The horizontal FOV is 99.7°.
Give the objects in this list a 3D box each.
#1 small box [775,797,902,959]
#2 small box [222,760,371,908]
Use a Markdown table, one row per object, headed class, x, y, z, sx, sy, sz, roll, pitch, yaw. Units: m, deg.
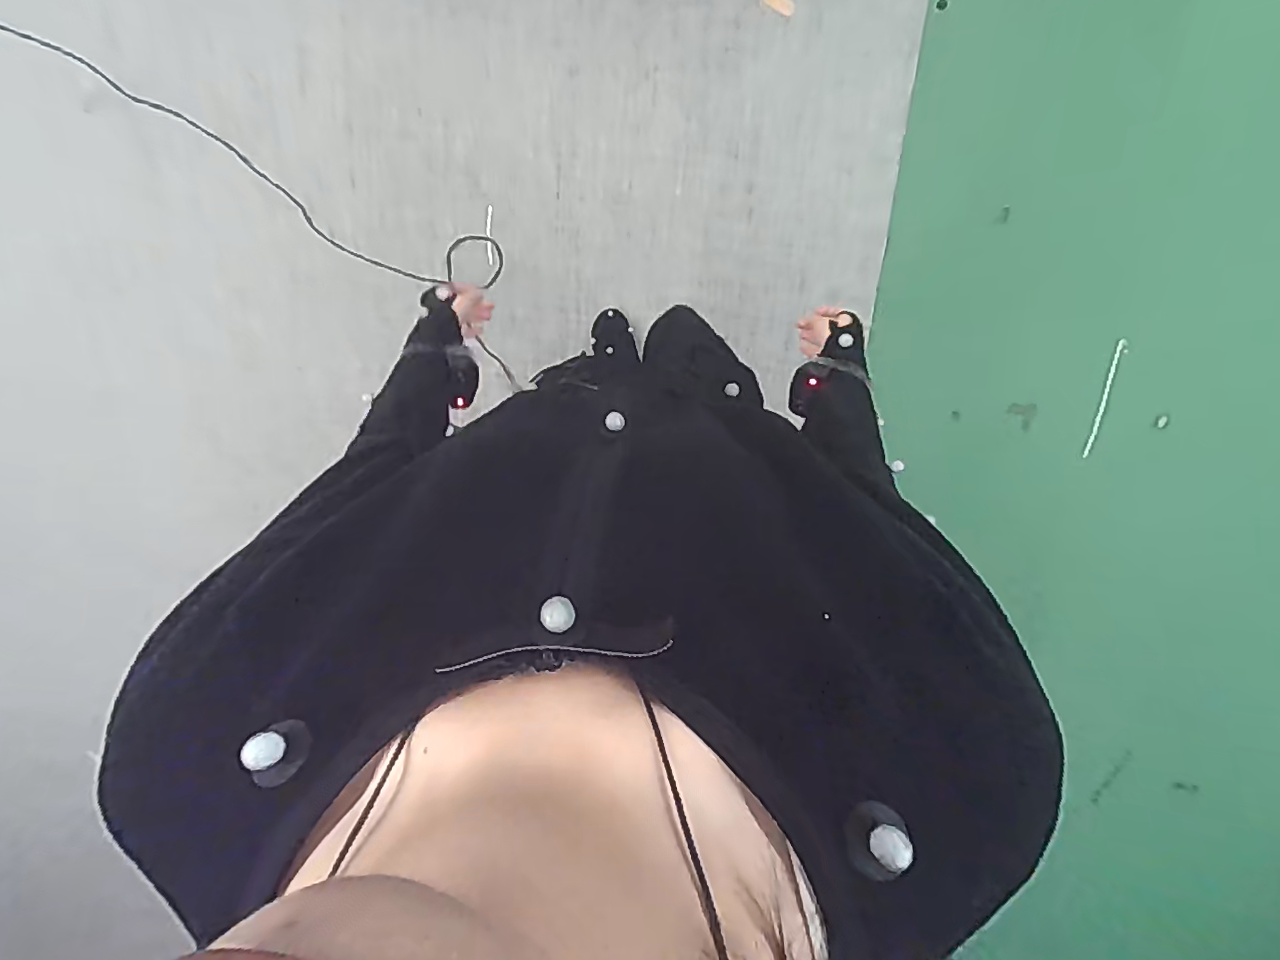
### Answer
| class | x | y | z | sx | sy | sz | roll | pitch | yaw |
| --- | --- | --- | --- | --- | --- | --- | --- | --- | --- |
| small box | 0.338 | 0.684 | 0.944 | 0.168 | 0.176 | 0.179 | -5 | 102 | 3 |
| small box | -0.712 | 0.737 | 1.143 | 0.179 | 0.176 | 0.168 | 36 | 102 | -7 |
